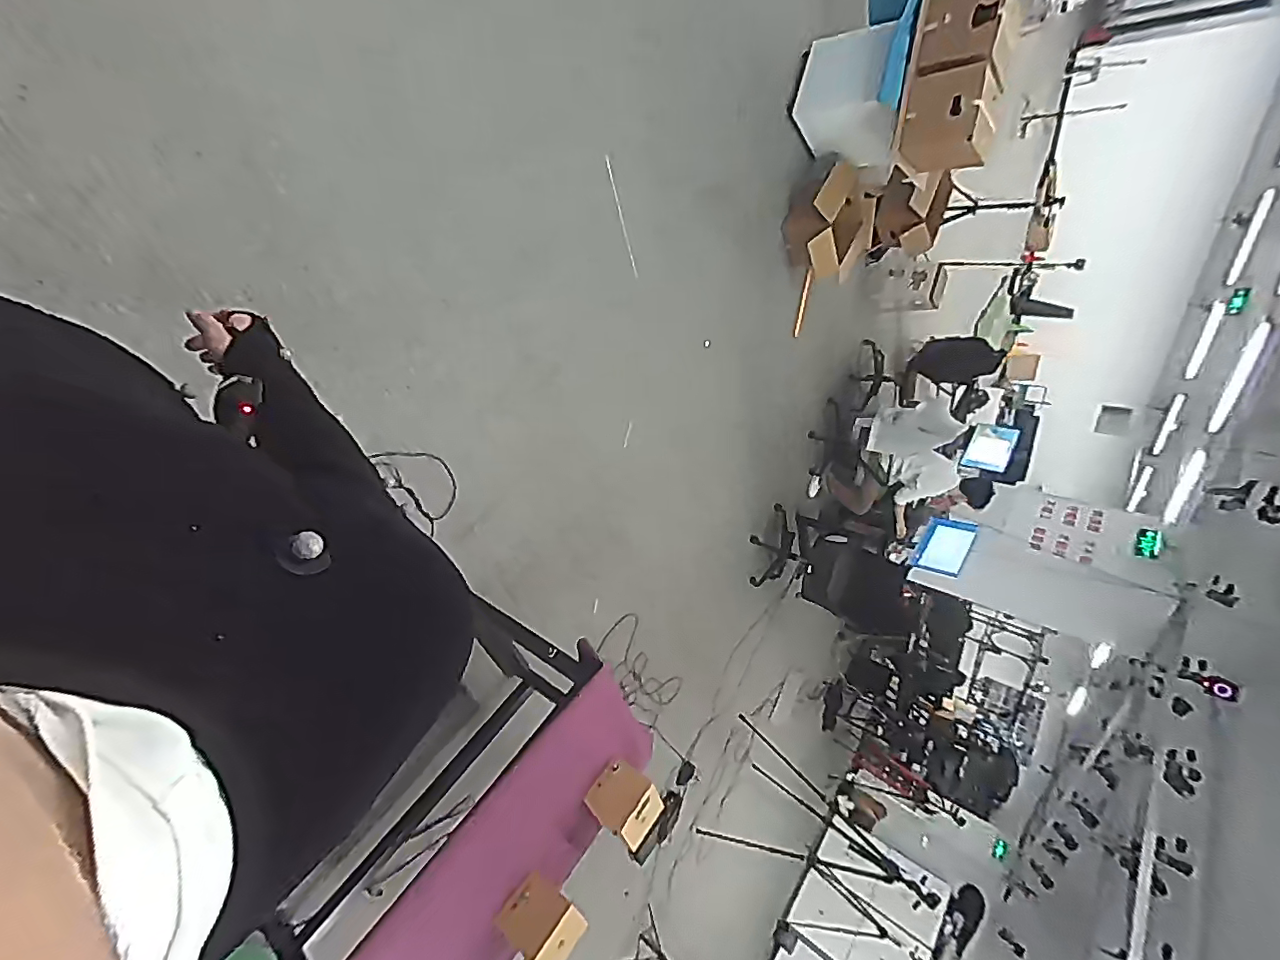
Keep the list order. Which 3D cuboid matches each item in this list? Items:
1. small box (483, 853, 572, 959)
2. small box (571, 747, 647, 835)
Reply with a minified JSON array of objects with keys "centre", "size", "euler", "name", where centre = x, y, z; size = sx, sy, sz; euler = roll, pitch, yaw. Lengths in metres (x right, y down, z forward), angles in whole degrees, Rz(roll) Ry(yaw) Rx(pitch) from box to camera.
[{"centre":[-0.334,1.260,1.608],"size":[0.168,0.176,0.179],"euler":[-44,136,-34],"name":"small box"},{"centre":[-0.106,1.024,1.796],"size":[0.168,0.176,0.179],"euler":[-44,136,-32],"name":"small box"}]
